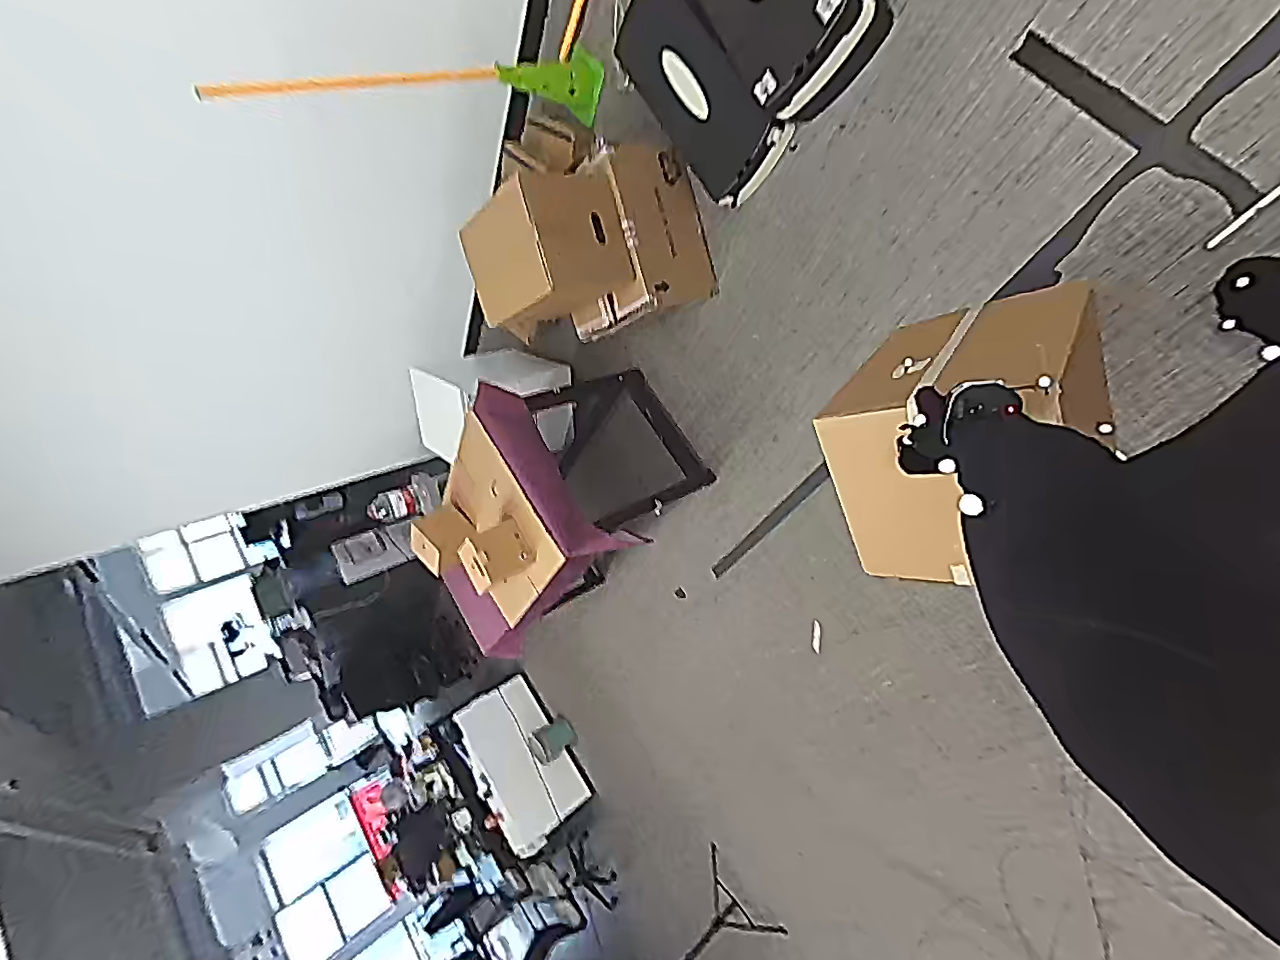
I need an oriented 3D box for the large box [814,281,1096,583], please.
[{"bbox_3d":[0.550,-0.085,0.911,0.320,0.408,0.320,-3,121,46],"label":"large box"}]
